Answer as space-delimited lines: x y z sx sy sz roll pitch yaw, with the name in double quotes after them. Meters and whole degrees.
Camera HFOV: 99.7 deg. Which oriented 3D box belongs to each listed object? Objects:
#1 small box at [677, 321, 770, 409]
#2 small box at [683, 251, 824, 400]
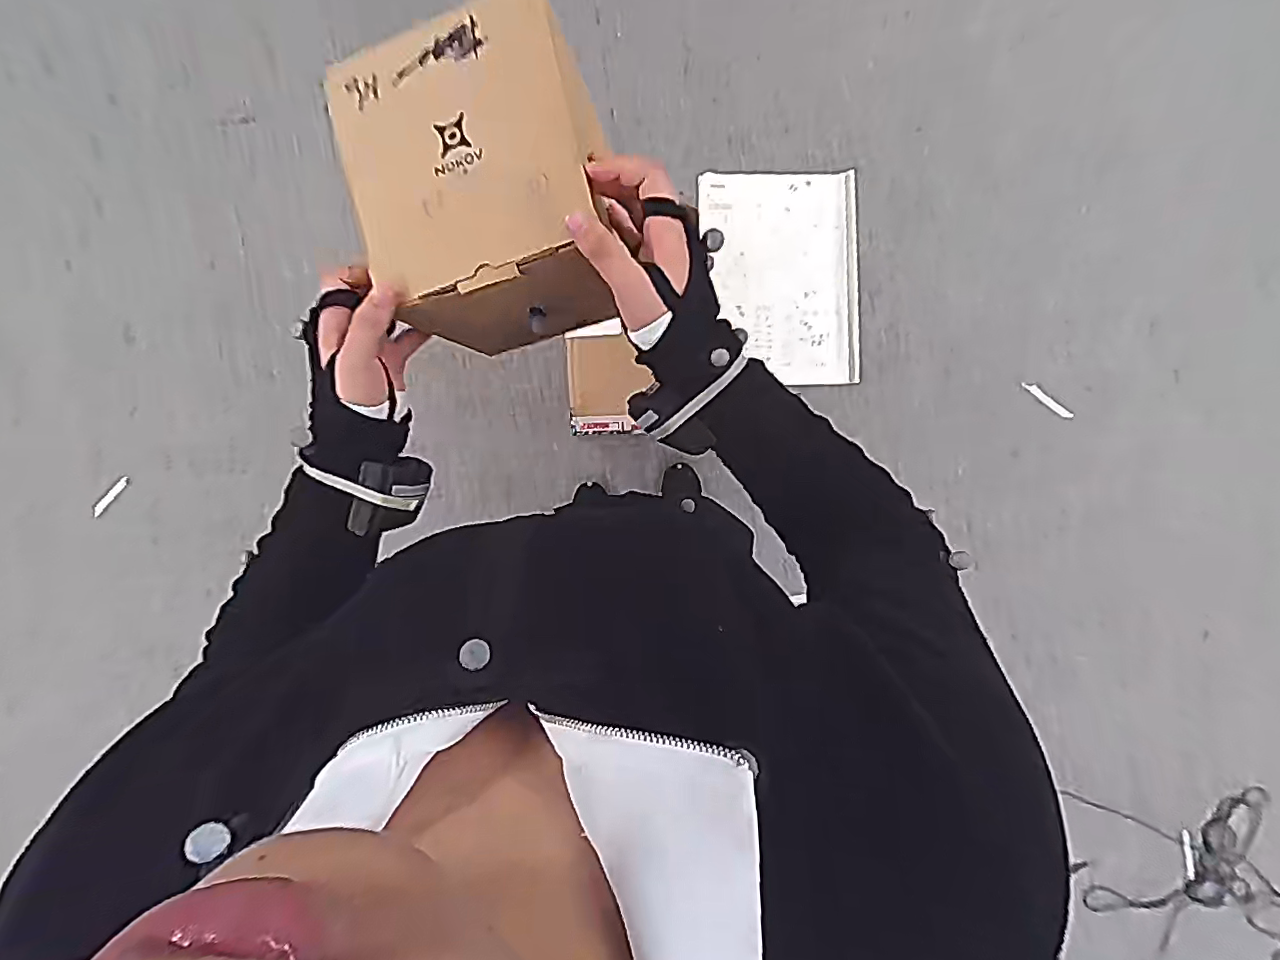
0.167 -0.221 0.955 0.179 0.176 0.168 -5 91 -3 "small box"
0.156 -0.214 0.790 0.168 0.176 0.179 -2 92 -4 "small box"
